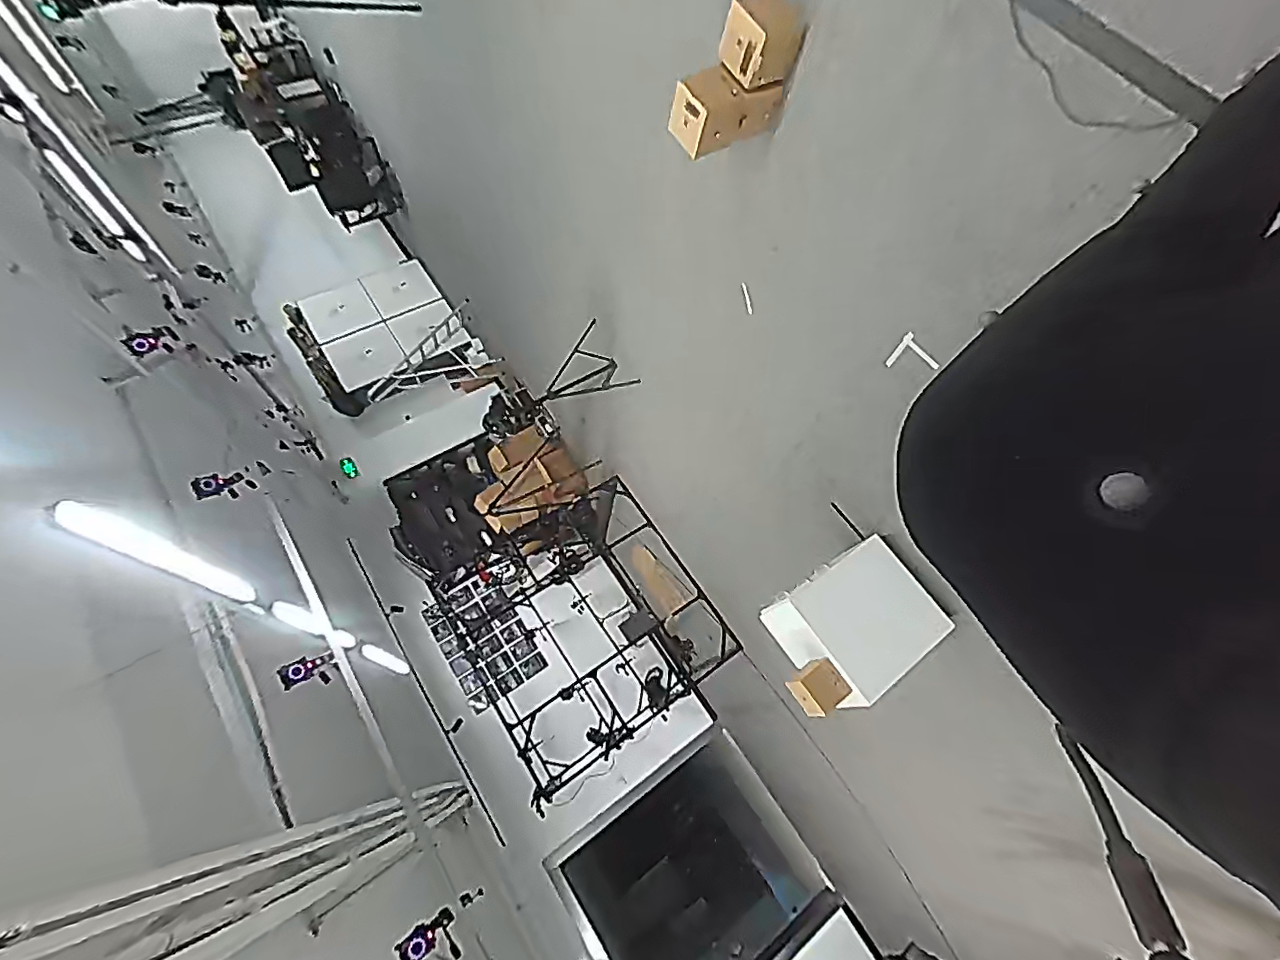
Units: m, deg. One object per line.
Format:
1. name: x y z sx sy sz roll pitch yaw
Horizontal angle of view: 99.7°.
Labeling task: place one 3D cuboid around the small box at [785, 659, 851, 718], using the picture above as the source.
1. small box: 0.748 0.875 2.272 0.168 0.176 0.179 54 160 14

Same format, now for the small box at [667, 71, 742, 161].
1. small box: 0.220 -1.231 1.822 0.168 0.176 0.179 56 162 12
